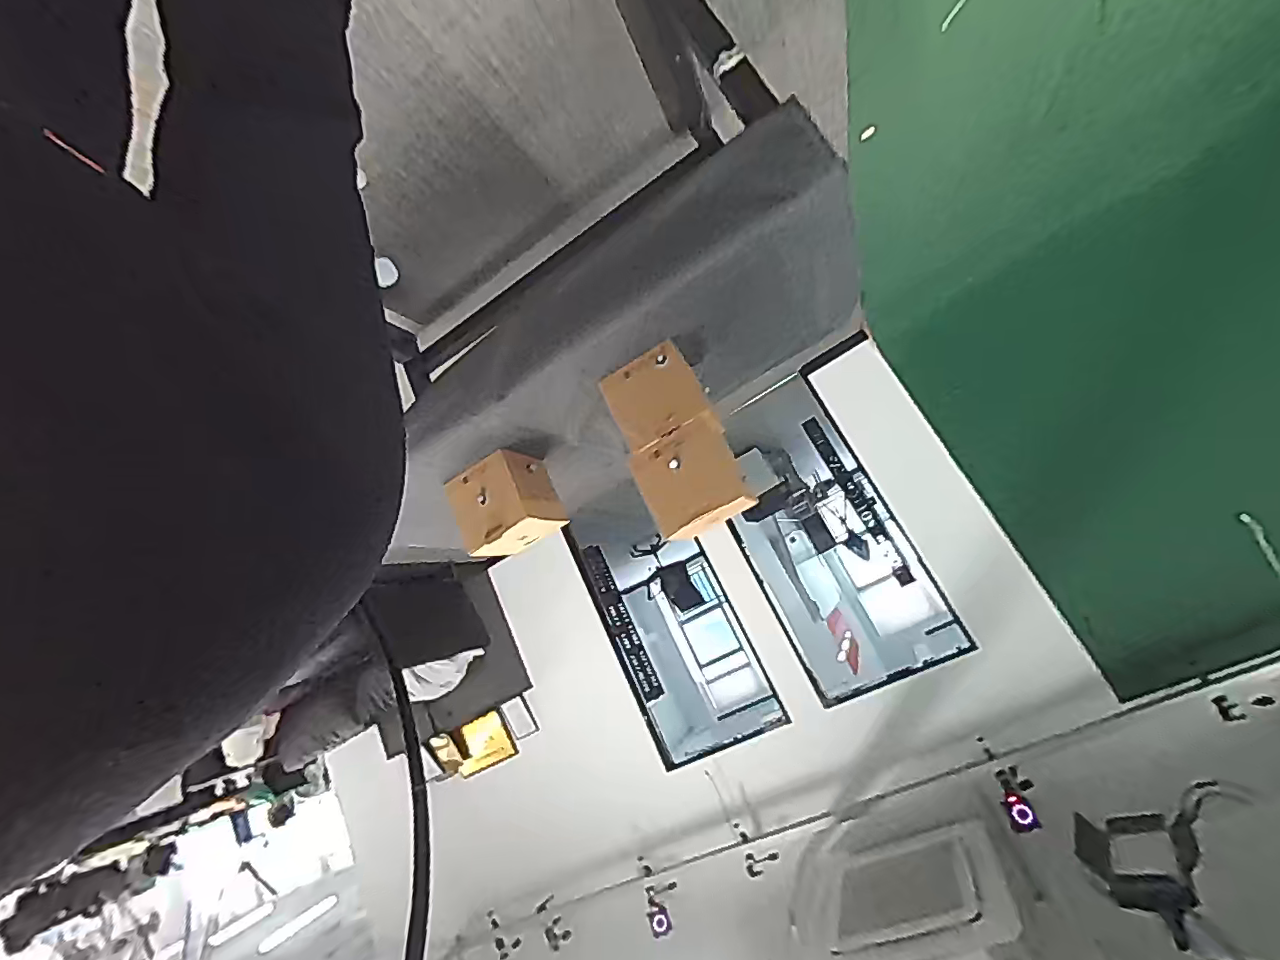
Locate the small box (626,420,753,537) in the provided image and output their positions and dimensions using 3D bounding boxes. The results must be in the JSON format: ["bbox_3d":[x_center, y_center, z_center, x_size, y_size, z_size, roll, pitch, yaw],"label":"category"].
[{"bbox_3d":[0.099,0.000,1.058,0.168,0.176,0.179,-31,164,15],"label":"small box"}]

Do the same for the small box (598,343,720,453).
[{"bbox_3d":[0.039,-0.151,1.089,0.168,0.176,0.179,-29,165,13],"label":"small box"}]

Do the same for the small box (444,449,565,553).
[{"bbox_3d":[-0.300,0.048,1.193,0.168,0.176,0.179,-30,164,14],"label":"small box"}]
